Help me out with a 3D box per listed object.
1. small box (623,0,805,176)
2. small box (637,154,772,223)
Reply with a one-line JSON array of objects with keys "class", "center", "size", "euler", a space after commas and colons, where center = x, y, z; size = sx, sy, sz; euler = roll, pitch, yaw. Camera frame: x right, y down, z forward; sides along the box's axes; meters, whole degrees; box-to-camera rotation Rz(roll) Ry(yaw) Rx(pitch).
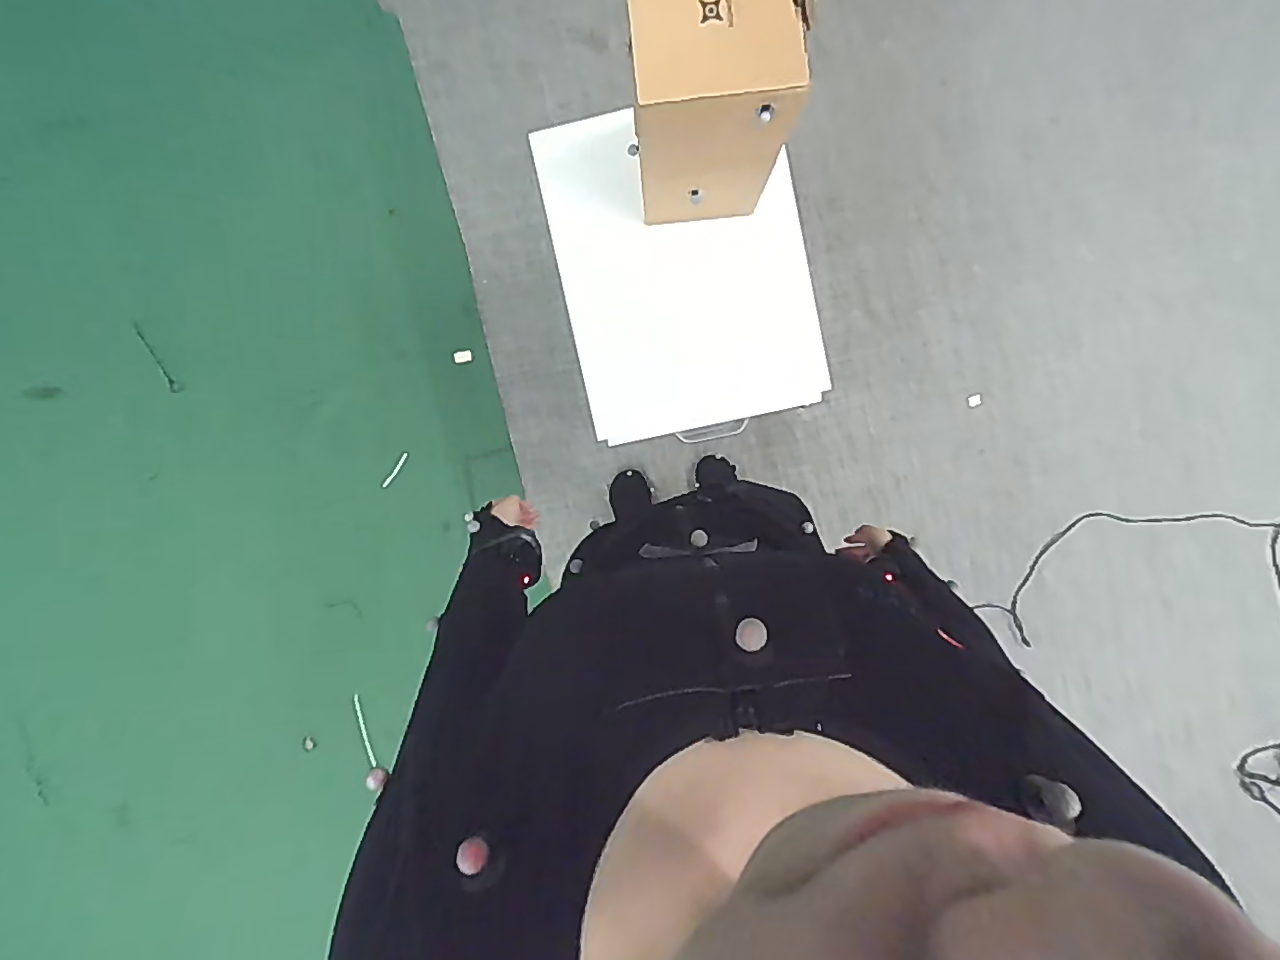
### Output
[{"class": "small box", "center": [0.075, -0.474, 0.619], "size": [0.179, 0.176, 0.168], "euler": [-6, 94, 1]}, {"class": "small box", "center": [0.083, -0.491, 0.781], "size": [0.179, 0.176, 0.168], "euler": [-5, 95, 2]}]
